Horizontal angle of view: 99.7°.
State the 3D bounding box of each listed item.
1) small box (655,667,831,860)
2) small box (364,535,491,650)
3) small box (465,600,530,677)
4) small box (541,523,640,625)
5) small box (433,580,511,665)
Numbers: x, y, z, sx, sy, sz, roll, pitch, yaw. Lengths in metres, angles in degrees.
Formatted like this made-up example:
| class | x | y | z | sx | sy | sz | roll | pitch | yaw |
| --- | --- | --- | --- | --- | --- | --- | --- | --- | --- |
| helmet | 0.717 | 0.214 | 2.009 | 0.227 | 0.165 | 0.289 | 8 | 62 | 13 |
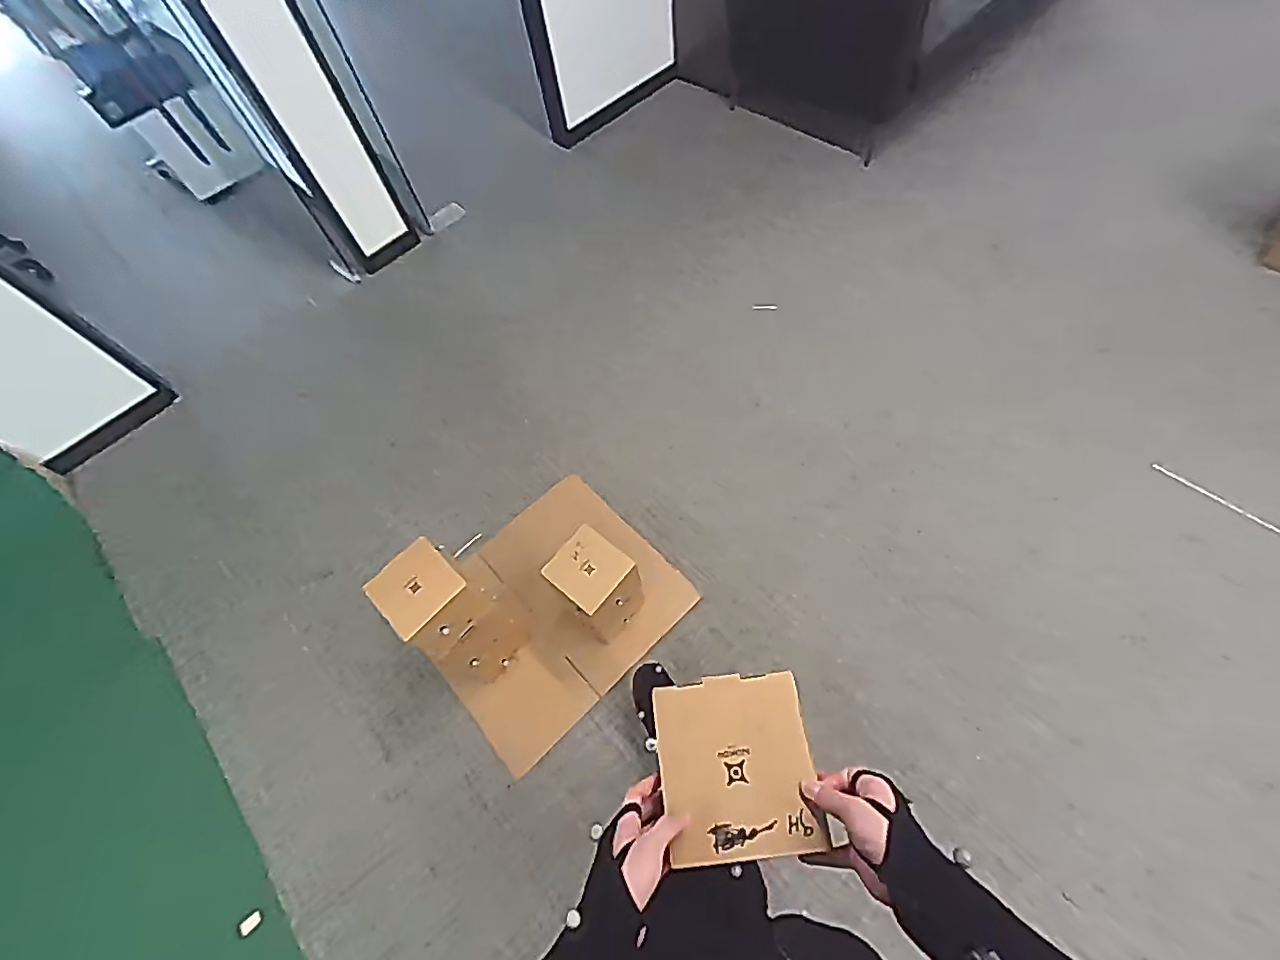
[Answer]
| class | x | y | z | sx | sy | sz | roll | pitch | yaw |
| --- | --- | --- | --- | --- | --- | --- | --- | --- | --- |
| small box | 0.112 | 0.338 | 0.650 | 0.168 | 0.176 | 0.179 | -8 | 60 | 4 |
| small box | -0.469 | 0.260 | 1.217 | 0.179 | 0.176 | 0.168 | 37 | 72 | 24 |
| small box | -0.435 | 0.421 | 1.498 | 0.179 | 0.176 | 0.168 | 34 | 70 | 22 |
| small box | -0.116 | 0.245 | 1.361 | 0.179 | 0.176 | 0.168 | 35 | 69 | 23 |
| small box | -0.453 | 0.342 | 1.356 | 0.179 | 0.176 | 0.168 | 37 | 72 | 24 |
